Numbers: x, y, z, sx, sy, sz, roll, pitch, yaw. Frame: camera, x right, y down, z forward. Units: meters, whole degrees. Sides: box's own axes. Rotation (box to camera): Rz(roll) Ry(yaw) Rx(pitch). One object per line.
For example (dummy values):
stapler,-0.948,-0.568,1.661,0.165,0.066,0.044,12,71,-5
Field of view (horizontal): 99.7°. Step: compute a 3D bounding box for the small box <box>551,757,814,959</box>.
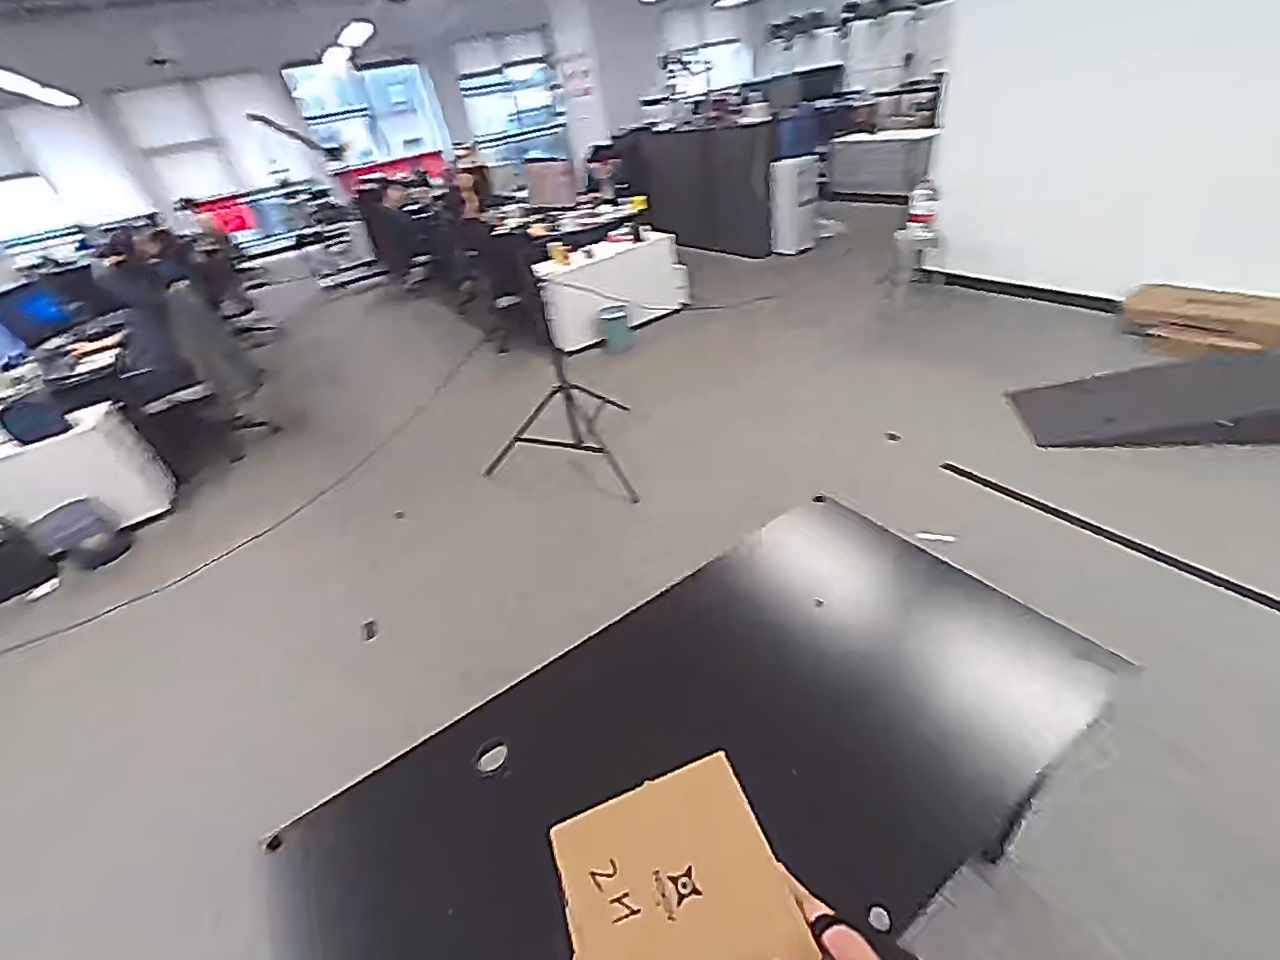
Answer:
small box,0.032,0.399,0.504,0.179,0.176,0.168,-18,44,-12
